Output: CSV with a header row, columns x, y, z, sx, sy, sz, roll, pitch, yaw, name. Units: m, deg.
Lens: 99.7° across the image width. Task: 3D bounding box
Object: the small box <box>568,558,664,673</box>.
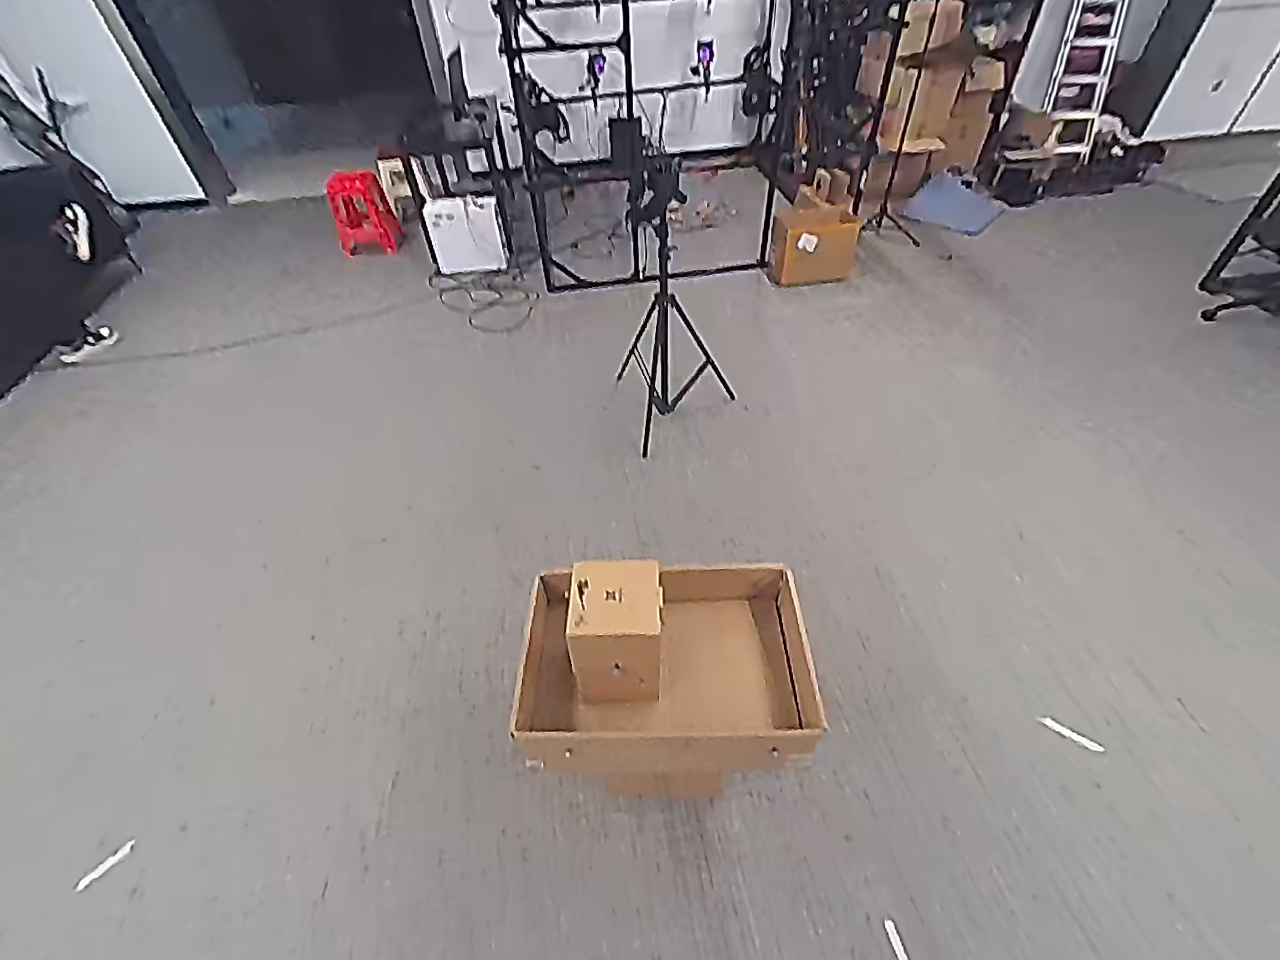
x,y,z,sx,sy,sz,roll,pitch,yaw,name
-0.043,0.276,1.091,0.179,0.176,0.168,1,45,1,small box
